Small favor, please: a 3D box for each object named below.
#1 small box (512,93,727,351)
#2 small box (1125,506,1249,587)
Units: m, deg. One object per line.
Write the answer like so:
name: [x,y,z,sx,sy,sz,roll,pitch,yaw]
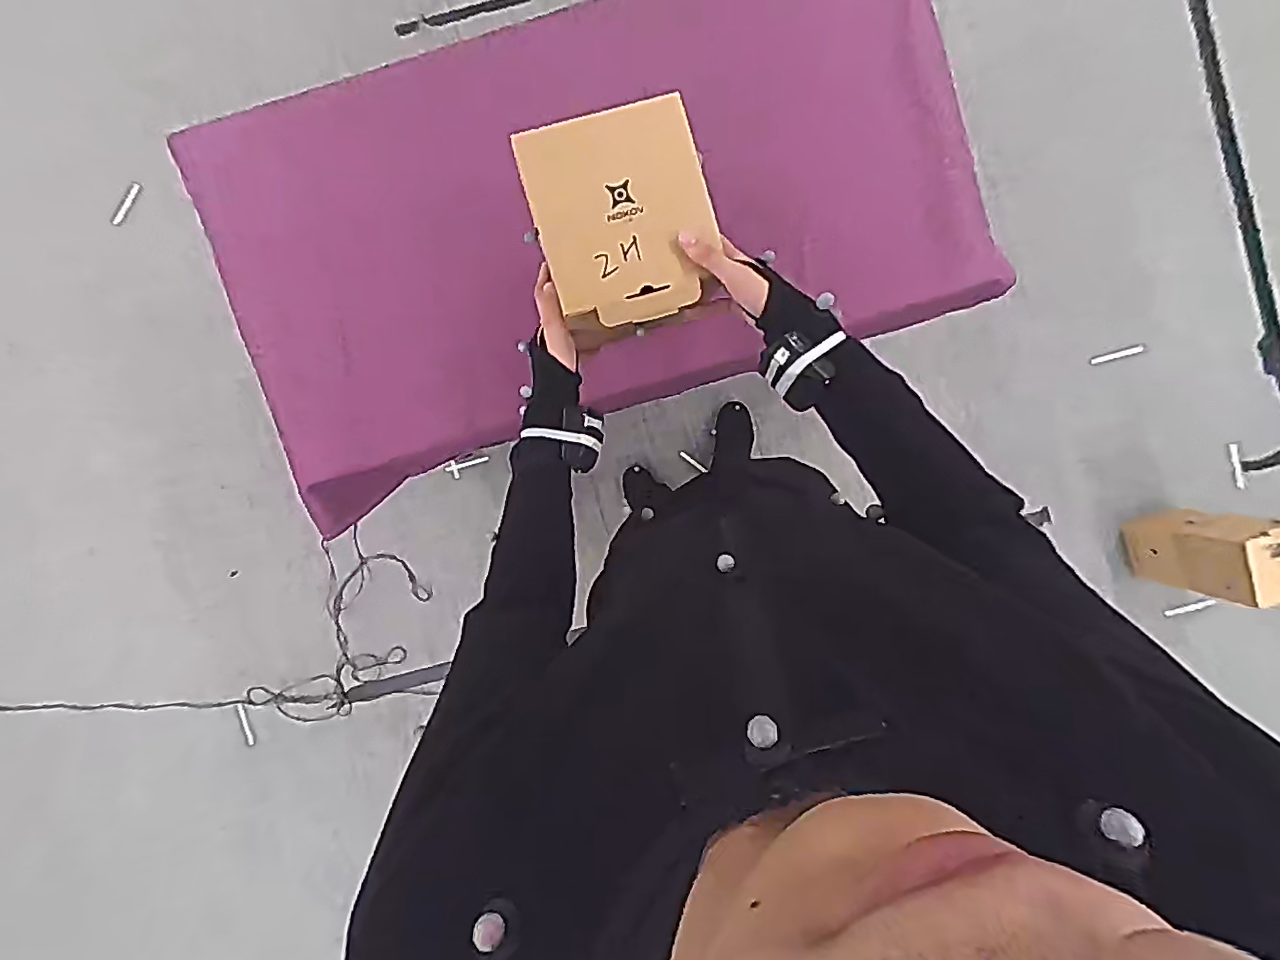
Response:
small box: [-0.023,-0.258,0.581,0.168,0.176,0.179,-17,93,-3]
small box: [1.543,0.184,1.541,0.179,0.176,0.168,-20,93,2]
